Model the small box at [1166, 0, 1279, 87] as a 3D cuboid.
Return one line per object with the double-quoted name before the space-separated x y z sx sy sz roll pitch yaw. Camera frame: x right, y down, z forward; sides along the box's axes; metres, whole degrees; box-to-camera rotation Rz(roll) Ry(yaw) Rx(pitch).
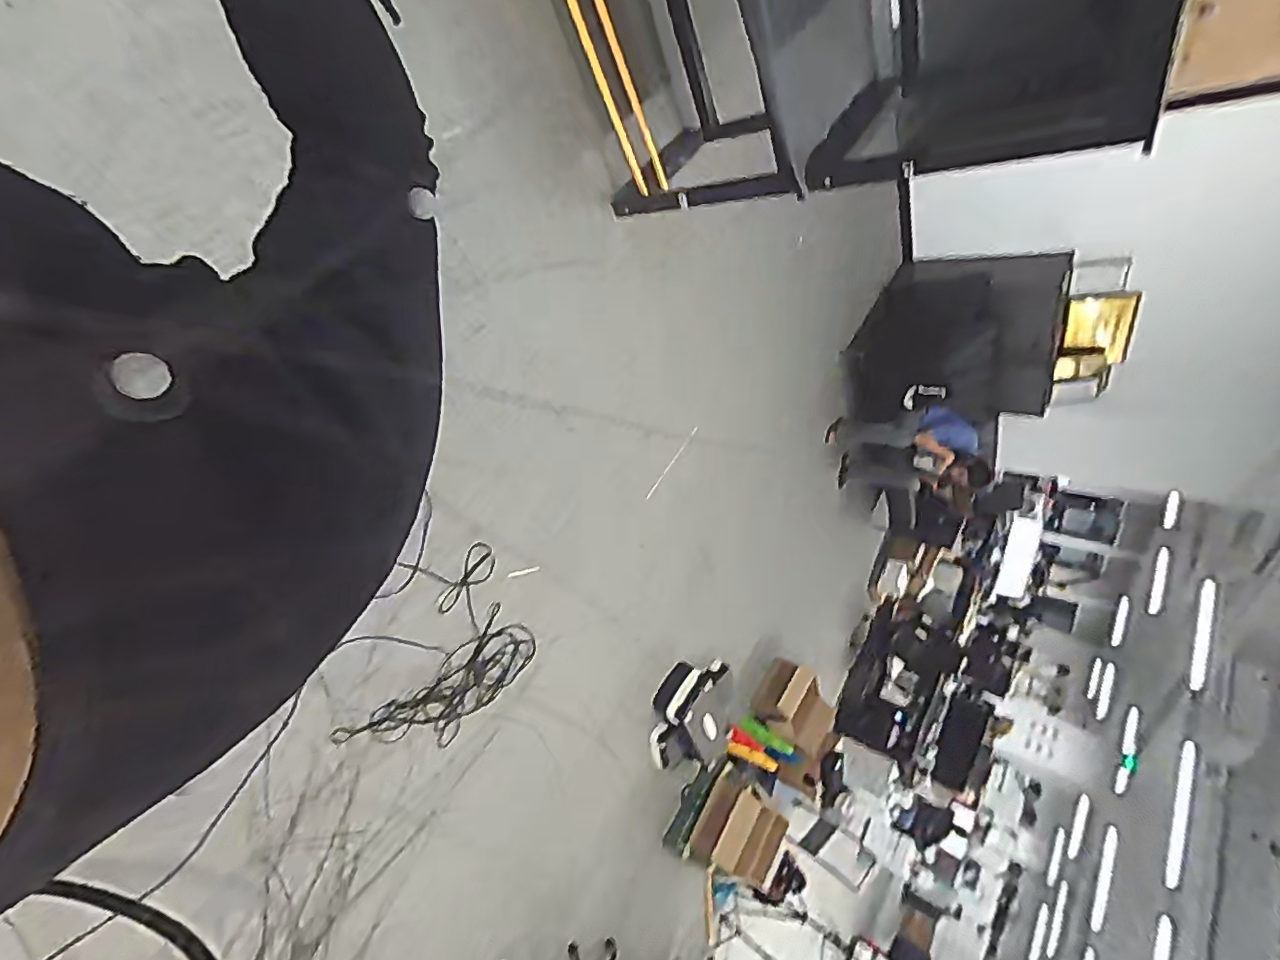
"small box" 1.100 -0.859 0.990 0.179 0.176 0.168 -53 136 -27
